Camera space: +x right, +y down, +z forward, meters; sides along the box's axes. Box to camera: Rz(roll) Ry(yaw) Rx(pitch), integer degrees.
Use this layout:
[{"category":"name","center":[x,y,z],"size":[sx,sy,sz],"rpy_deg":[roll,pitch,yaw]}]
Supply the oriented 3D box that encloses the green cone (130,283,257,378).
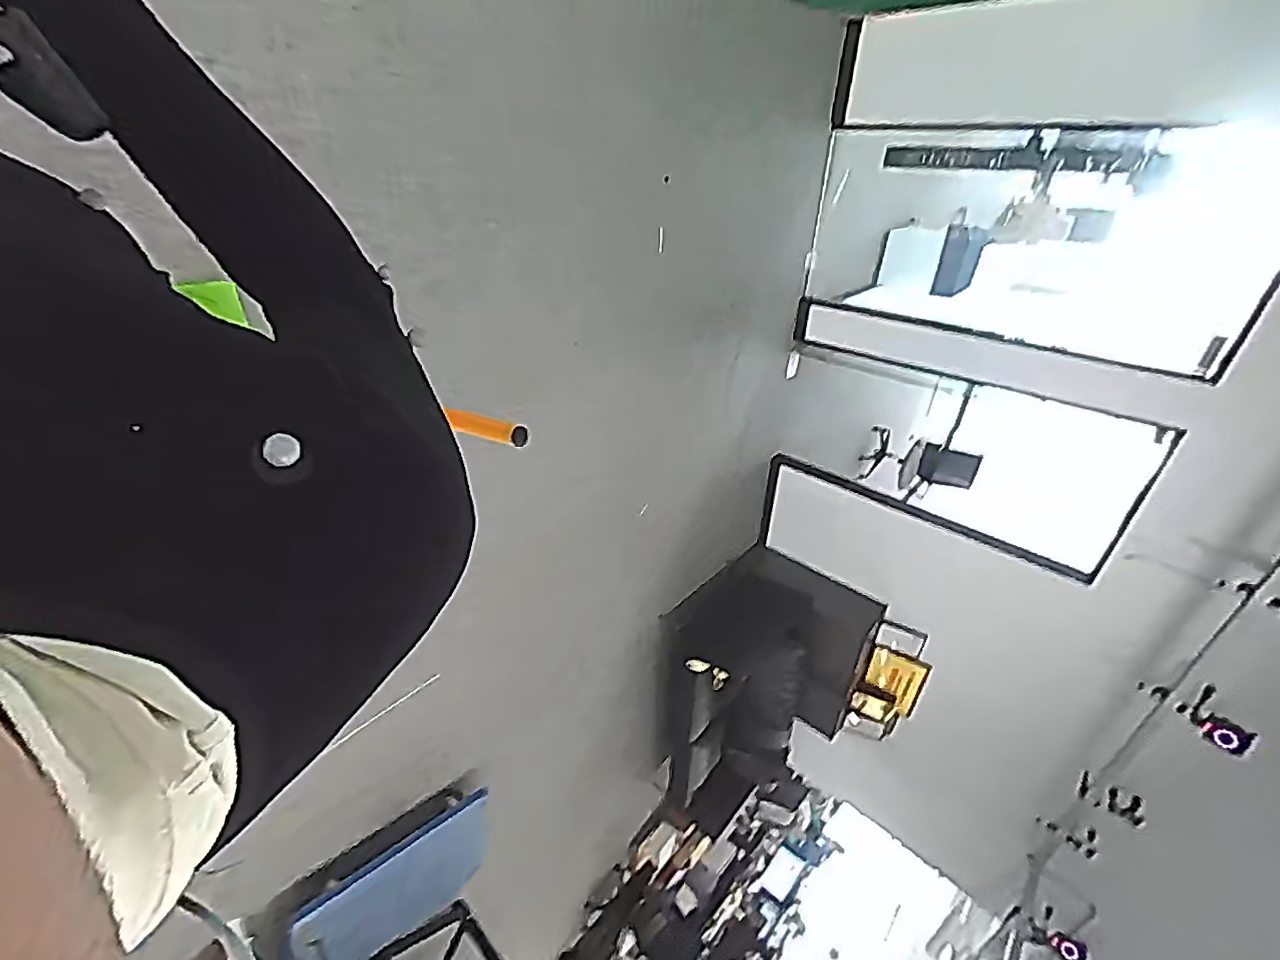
[{"category":"green cone","center":[-0.933,-0.298,1.197],"size":[0.202,0.368,0.200],"rpy_deg":[-29,132,-39]}]
